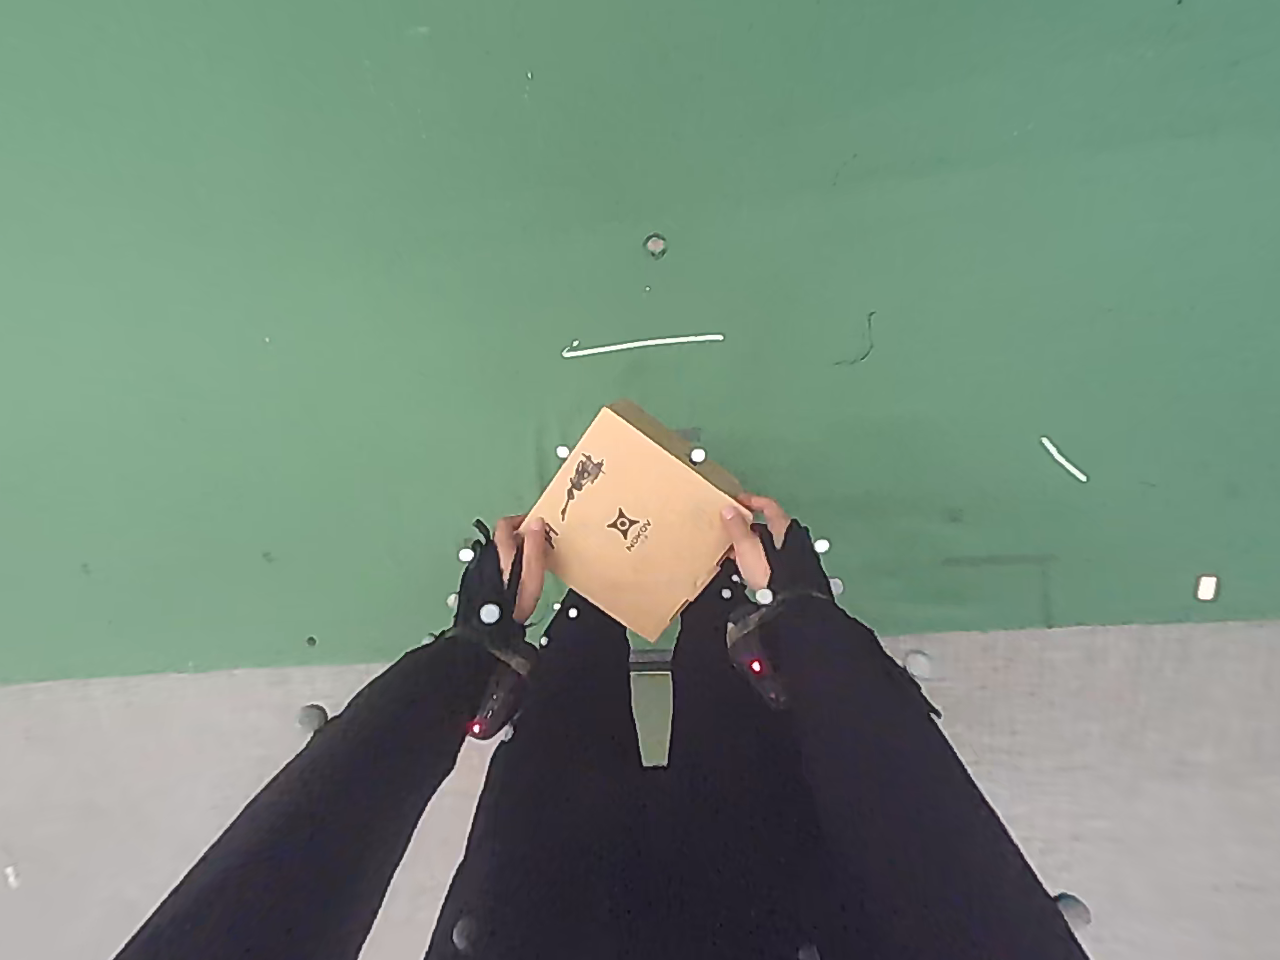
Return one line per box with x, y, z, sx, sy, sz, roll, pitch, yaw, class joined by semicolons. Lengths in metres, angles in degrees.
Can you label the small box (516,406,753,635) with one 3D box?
-0.002;0.029;0.600;0.179;0.176;0.168;36;101;-3;small box
